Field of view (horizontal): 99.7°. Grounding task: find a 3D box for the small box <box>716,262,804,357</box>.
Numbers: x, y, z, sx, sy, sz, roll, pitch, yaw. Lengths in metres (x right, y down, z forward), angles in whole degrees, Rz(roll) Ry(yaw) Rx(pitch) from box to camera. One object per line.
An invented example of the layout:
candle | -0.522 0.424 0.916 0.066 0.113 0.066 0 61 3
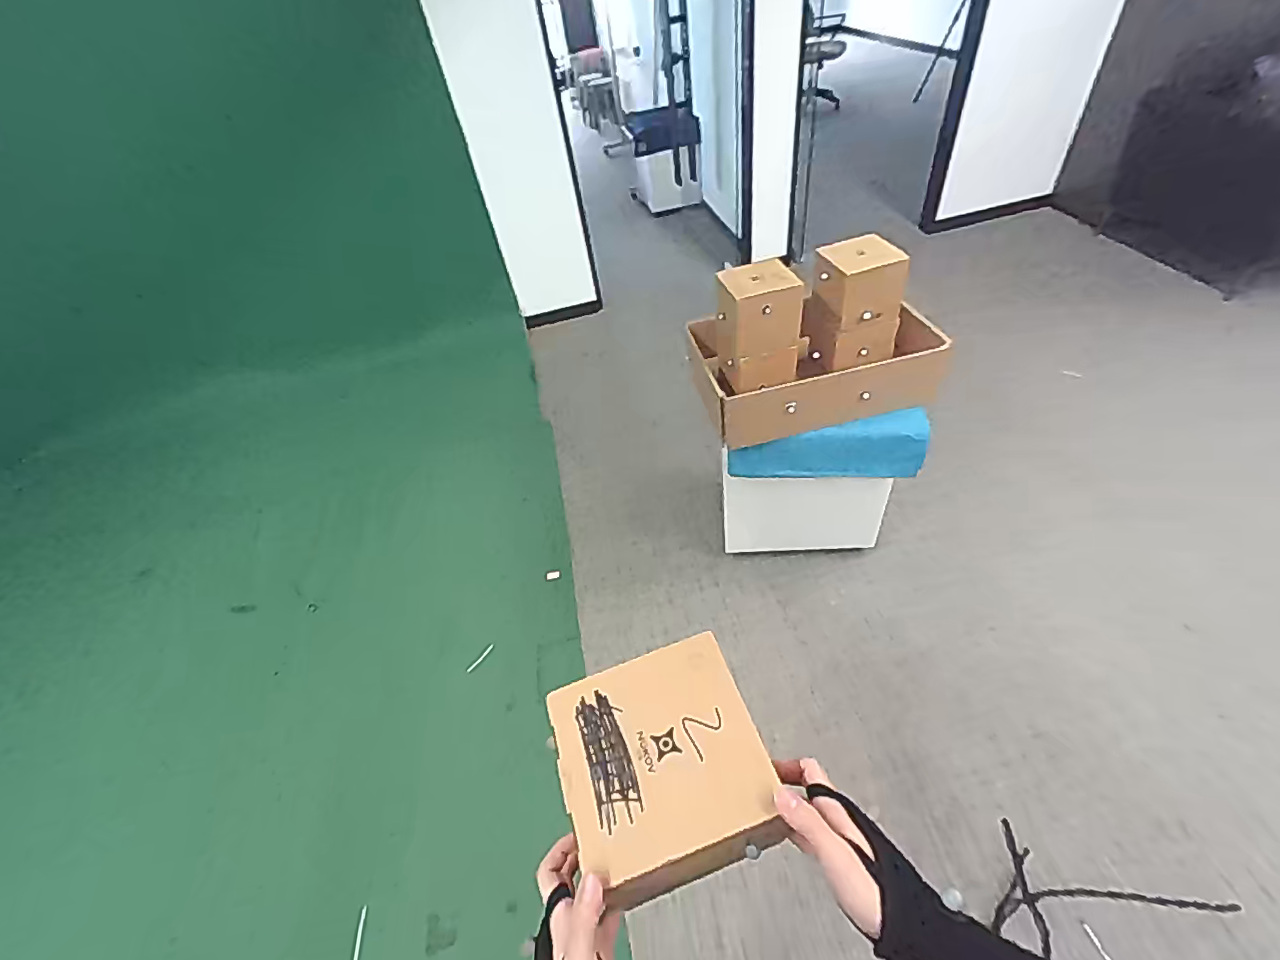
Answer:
small box | 0.308 -0.440 1.405 0.179 0.176 0.168 -14 45 -4

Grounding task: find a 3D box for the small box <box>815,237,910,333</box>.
small box | 0.574 -0.512 1.426 0.168 0.176 0.179 -16 44 -2
